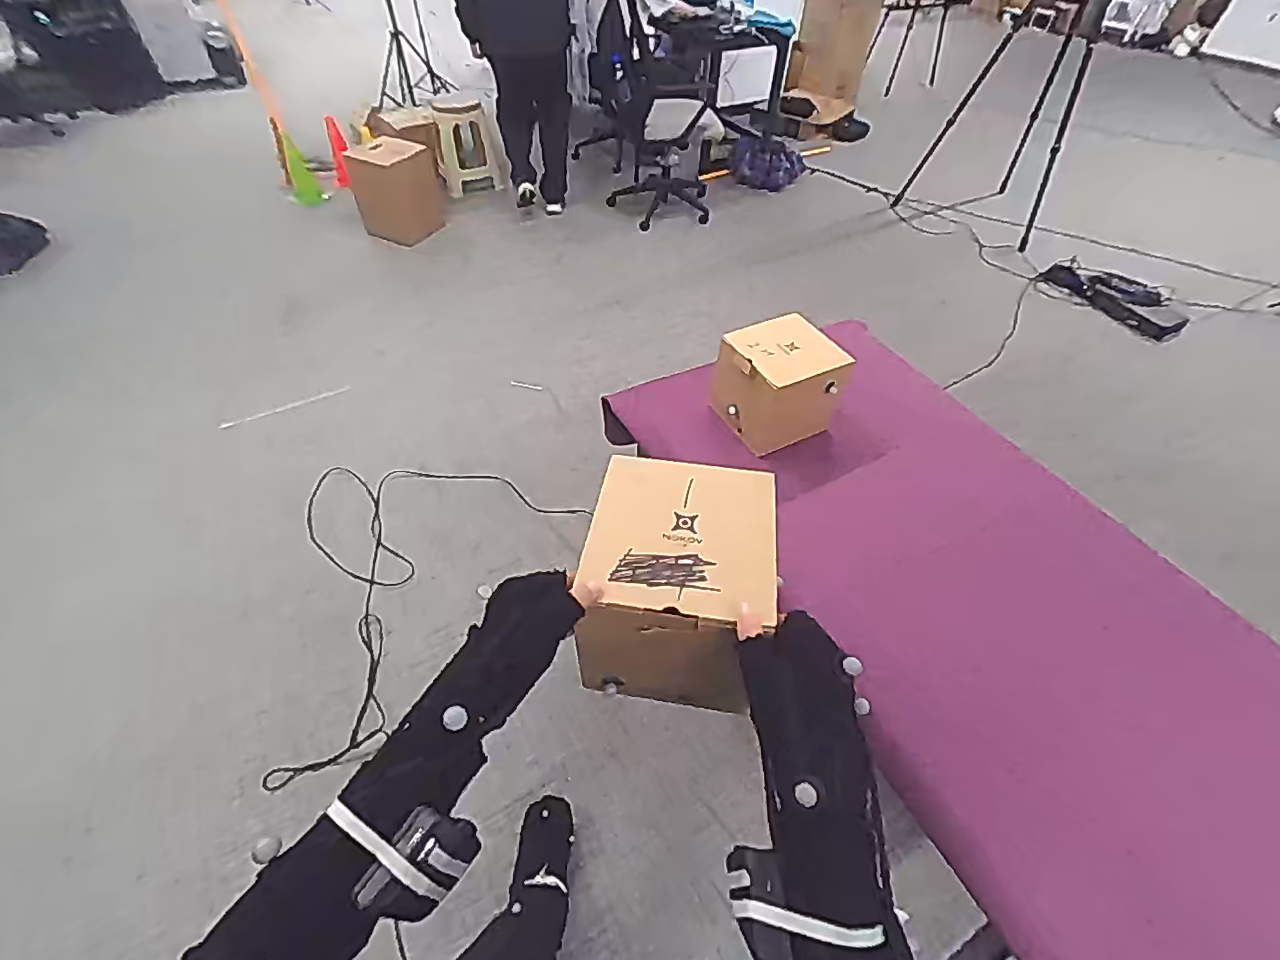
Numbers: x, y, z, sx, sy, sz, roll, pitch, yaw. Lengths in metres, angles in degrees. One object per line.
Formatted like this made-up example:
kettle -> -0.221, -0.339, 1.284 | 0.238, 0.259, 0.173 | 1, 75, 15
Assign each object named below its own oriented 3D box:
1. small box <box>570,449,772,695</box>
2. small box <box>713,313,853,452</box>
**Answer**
small box -> 0.037, 0.094, 0.547 | 0.168, 0.176, 0.179 | 7, 45, 6
small box -> 0.257, -0.182, 1.018 | 0.179, 0.176, 0.168 | -22, 54, -19
